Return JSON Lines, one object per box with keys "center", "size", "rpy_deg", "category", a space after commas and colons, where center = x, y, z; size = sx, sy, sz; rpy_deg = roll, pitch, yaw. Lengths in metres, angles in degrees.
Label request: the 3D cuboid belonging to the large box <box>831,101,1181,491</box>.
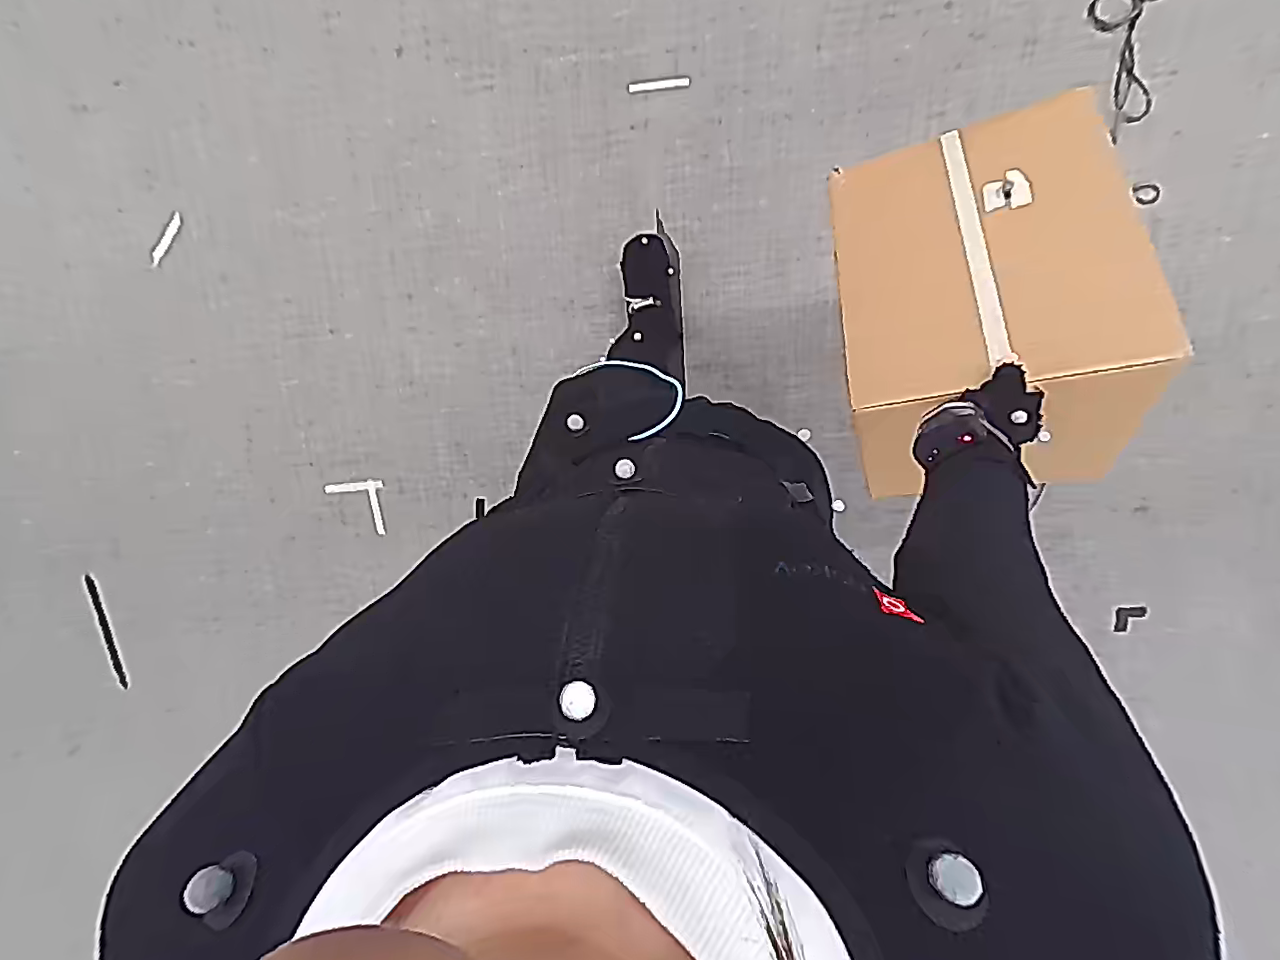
{"center": [0.480, -0.234, 0.802], "size": [0.320, 0.320, 0.408], "rpy_deg": [-7, 65, 23], "category": "large box"}
